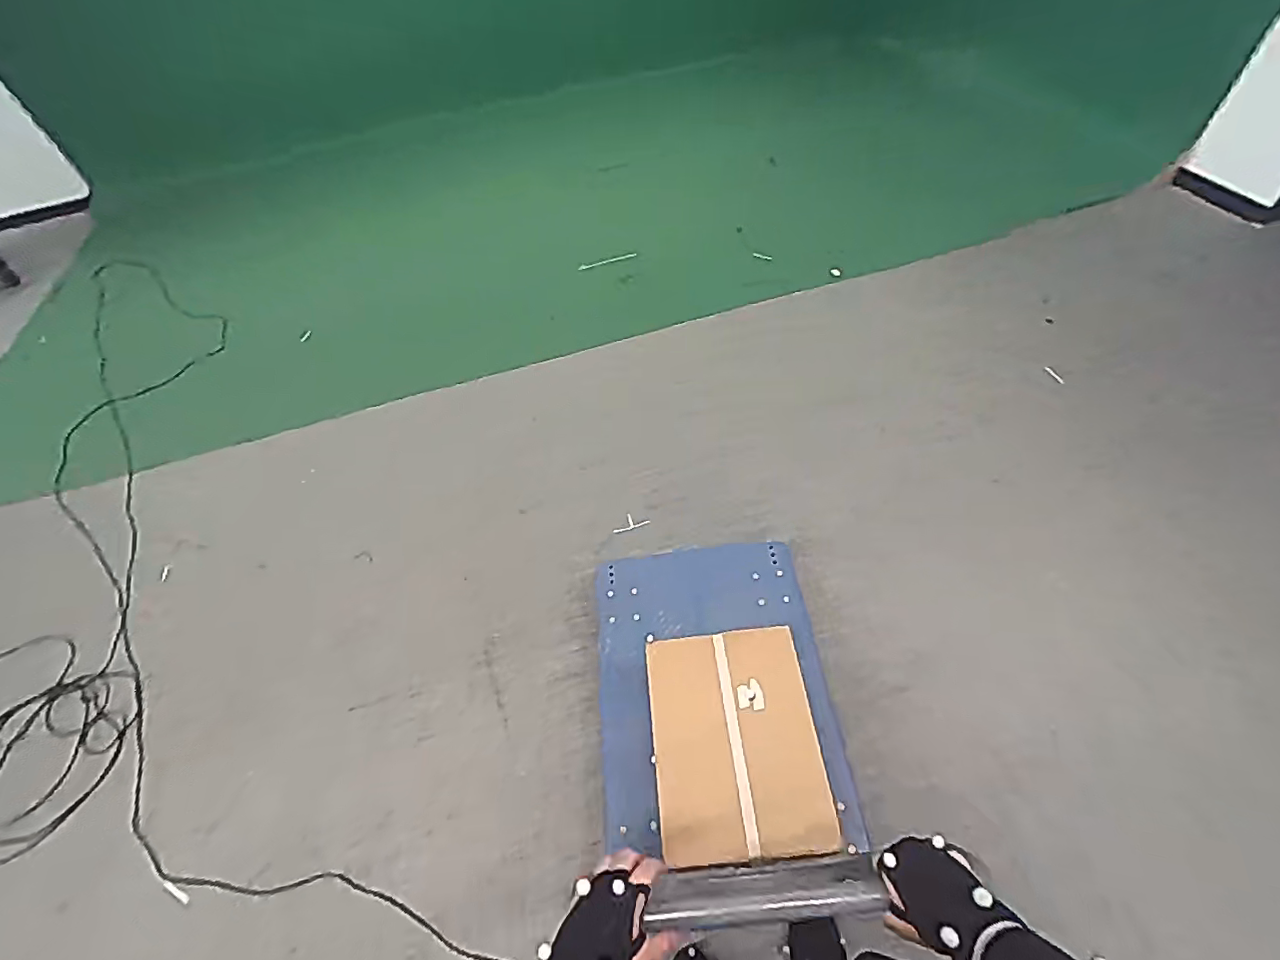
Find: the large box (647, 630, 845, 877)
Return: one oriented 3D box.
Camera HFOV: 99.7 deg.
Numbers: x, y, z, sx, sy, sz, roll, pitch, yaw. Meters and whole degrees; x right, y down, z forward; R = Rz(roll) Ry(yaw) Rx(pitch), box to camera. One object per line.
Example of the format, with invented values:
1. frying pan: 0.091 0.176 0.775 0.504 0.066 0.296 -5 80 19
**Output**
1. large box: 0.201 0.587 1.161 0.320 0.320 0.408 -7 52 2
